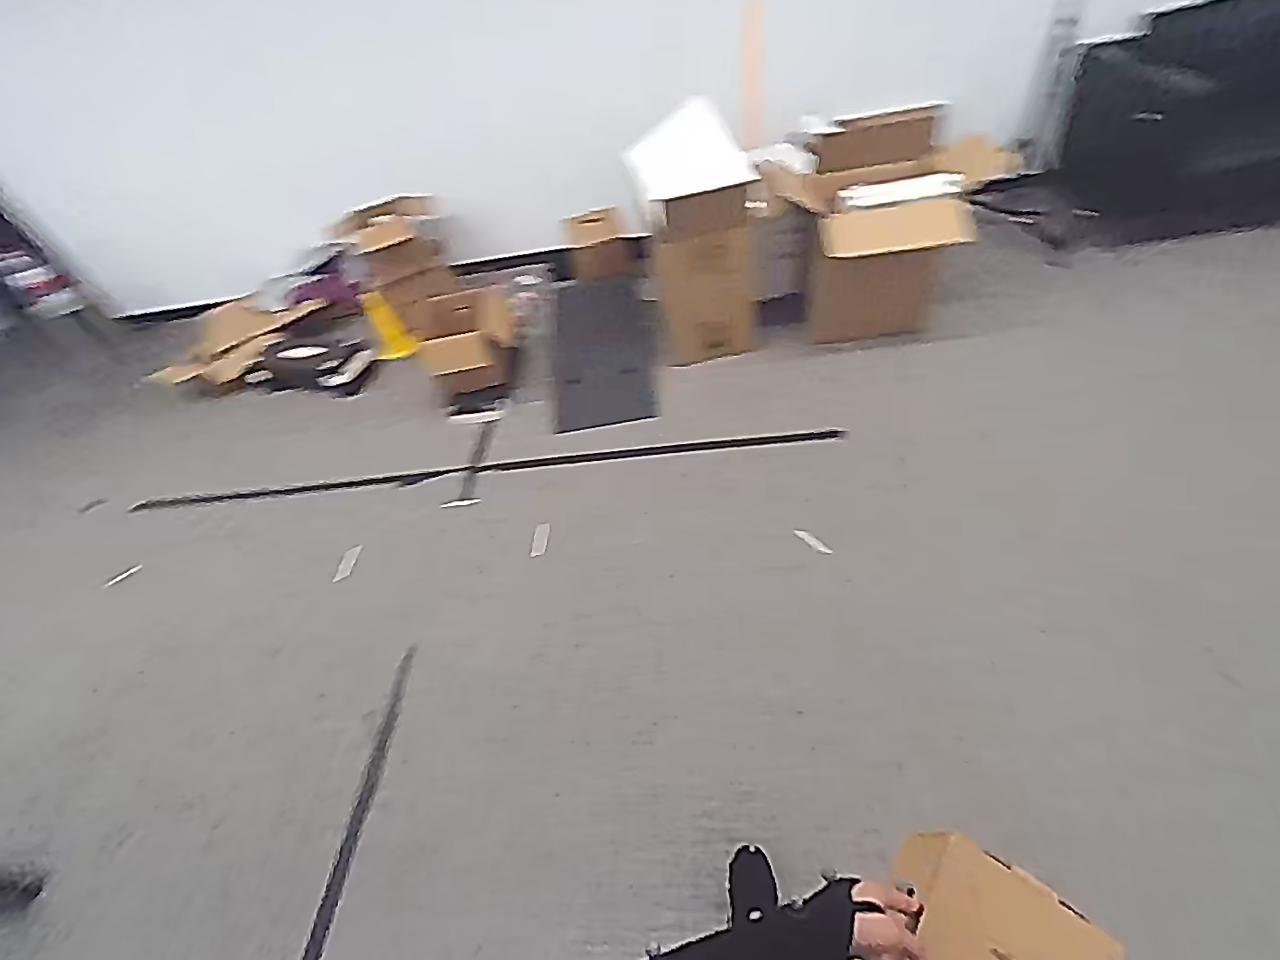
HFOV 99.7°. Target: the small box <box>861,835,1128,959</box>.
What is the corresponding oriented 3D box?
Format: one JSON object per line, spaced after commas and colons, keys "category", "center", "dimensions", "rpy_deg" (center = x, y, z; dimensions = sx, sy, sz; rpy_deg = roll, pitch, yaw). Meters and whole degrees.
{"category": "small box", "center": [0.354, 0.513, 0.569], "dimensions": [0.168, 0.176, 0.179], "rpy_deg": [27, 63, 22]}
